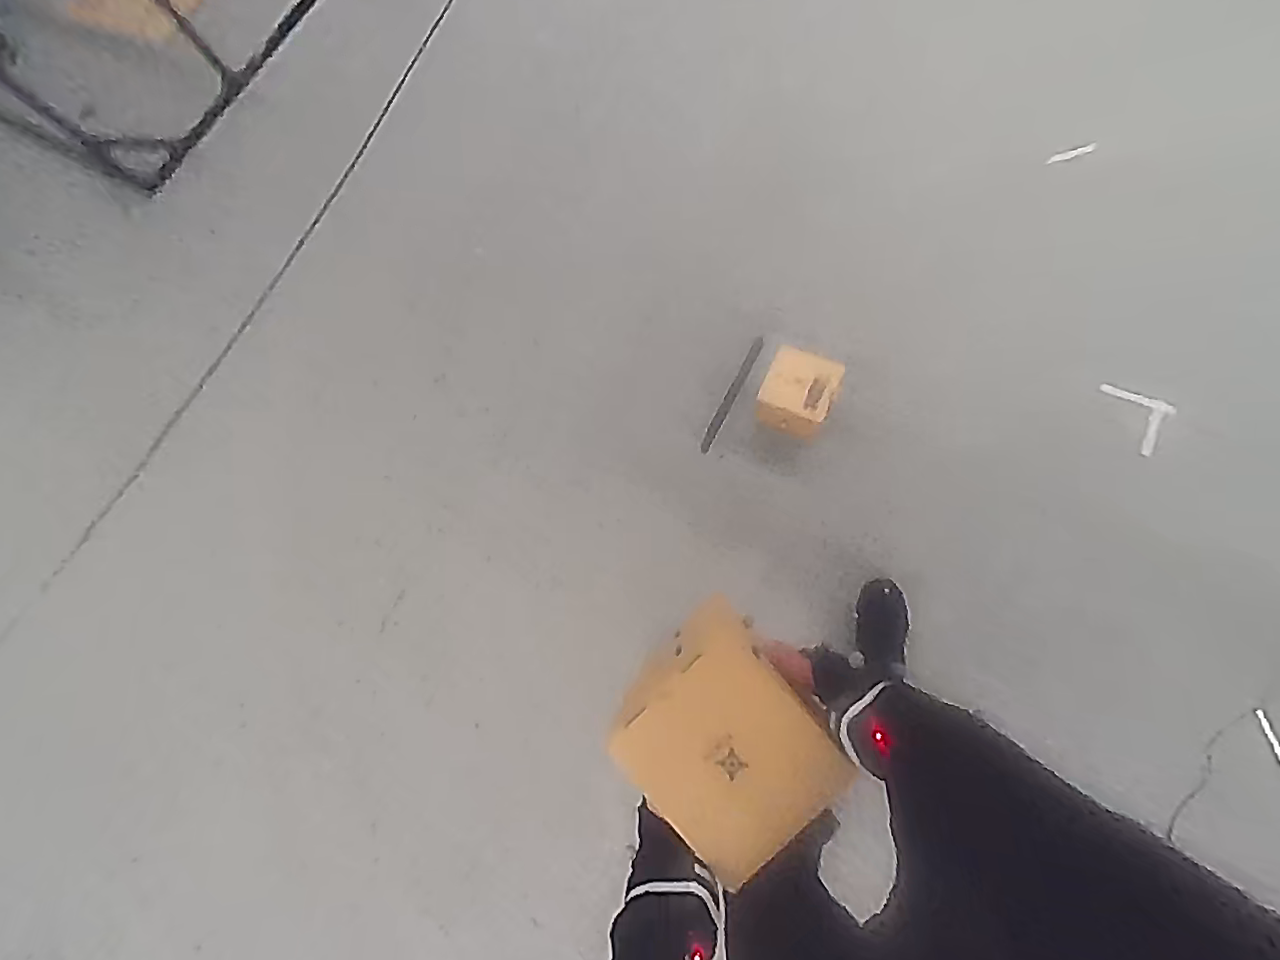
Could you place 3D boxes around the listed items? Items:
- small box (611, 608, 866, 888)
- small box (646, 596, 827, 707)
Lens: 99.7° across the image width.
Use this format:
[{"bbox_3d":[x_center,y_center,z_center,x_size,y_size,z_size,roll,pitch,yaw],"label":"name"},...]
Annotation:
[{"bbox_3d":[0.098,0.259,0.574,0.168,0.176,0.179,-44,82,2],"label":"small box"},{"bbox_3d":[0.117,0.275,0.736,0.168,0.176,0.179,-45,82,2],"label":"small box"}]
